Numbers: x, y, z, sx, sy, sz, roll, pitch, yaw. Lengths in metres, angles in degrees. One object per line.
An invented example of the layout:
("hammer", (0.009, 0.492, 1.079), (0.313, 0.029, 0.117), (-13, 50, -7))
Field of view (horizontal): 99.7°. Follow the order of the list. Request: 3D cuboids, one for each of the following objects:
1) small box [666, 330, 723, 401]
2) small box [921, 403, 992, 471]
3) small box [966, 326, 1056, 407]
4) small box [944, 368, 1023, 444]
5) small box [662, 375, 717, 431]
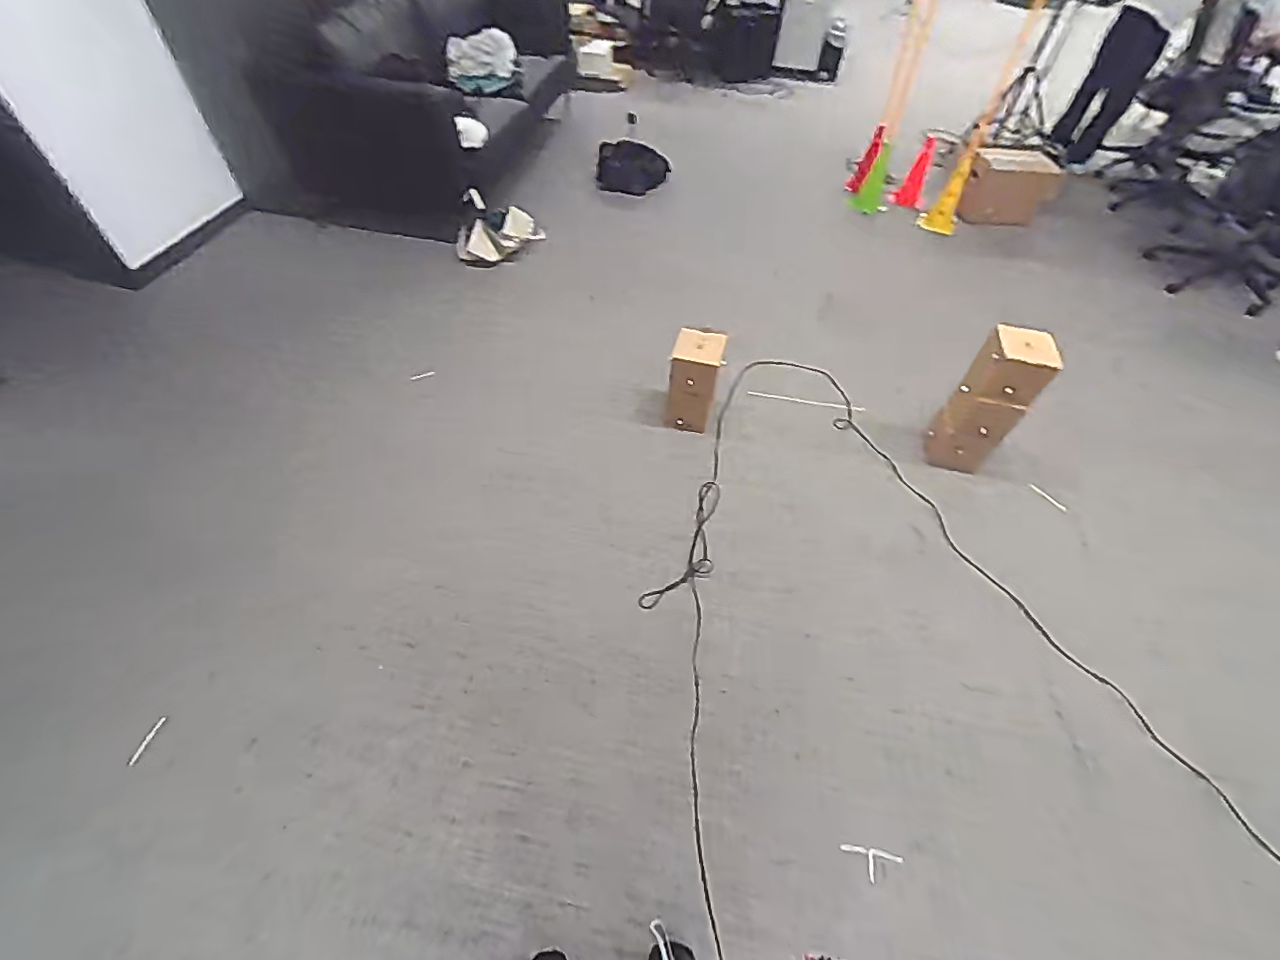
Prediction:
("small box", (0.192, -0.406, 1.932), (0.168, 0.176, 0.179), (13, 51, 8))
("small box", (1.155, -0.153, 1.988), (0.179, 0.176, 0.168), (12, 52, 6))
("small box", (1.180, -0.364, 1.738), (0.168, 0.176, 0.179), (13, 52, 6))
("small box", (1.170, -0.255, 1.859), (0.168, 0.176, 0.179), (13, 52, 6))
("small box", (0.184, -0.317, 2.050), (0.168, 0.176, 0.179), (15, 52, 9))
